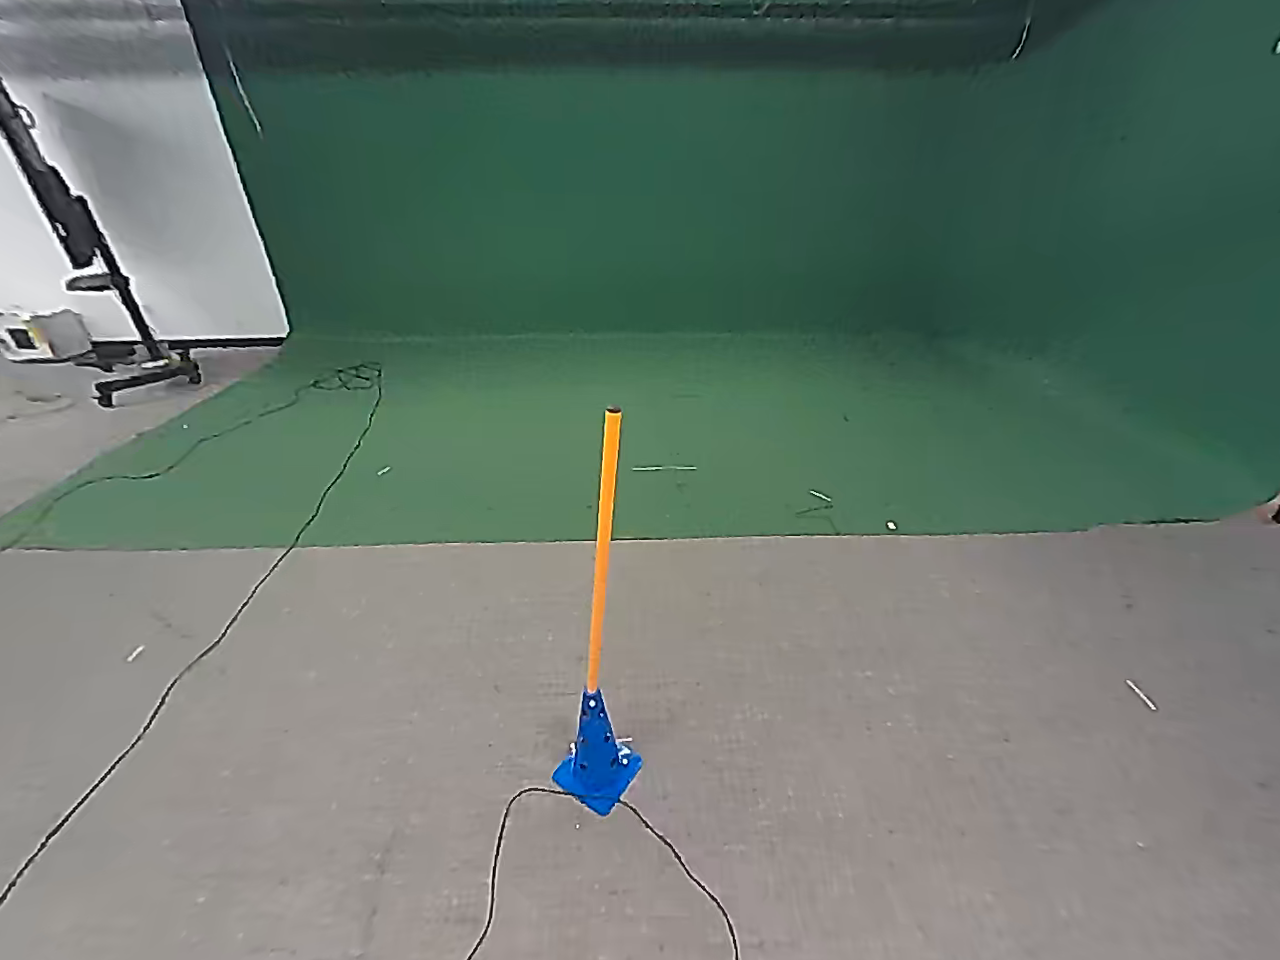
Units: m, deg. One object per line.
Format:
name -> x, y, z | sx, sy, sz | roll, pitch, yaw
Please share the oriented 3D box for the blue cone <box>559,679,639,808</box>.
blue cone -> -0.117, 0.679, 1.467 | 0.192, 0.380, 0.193 | 18, 34, 26
